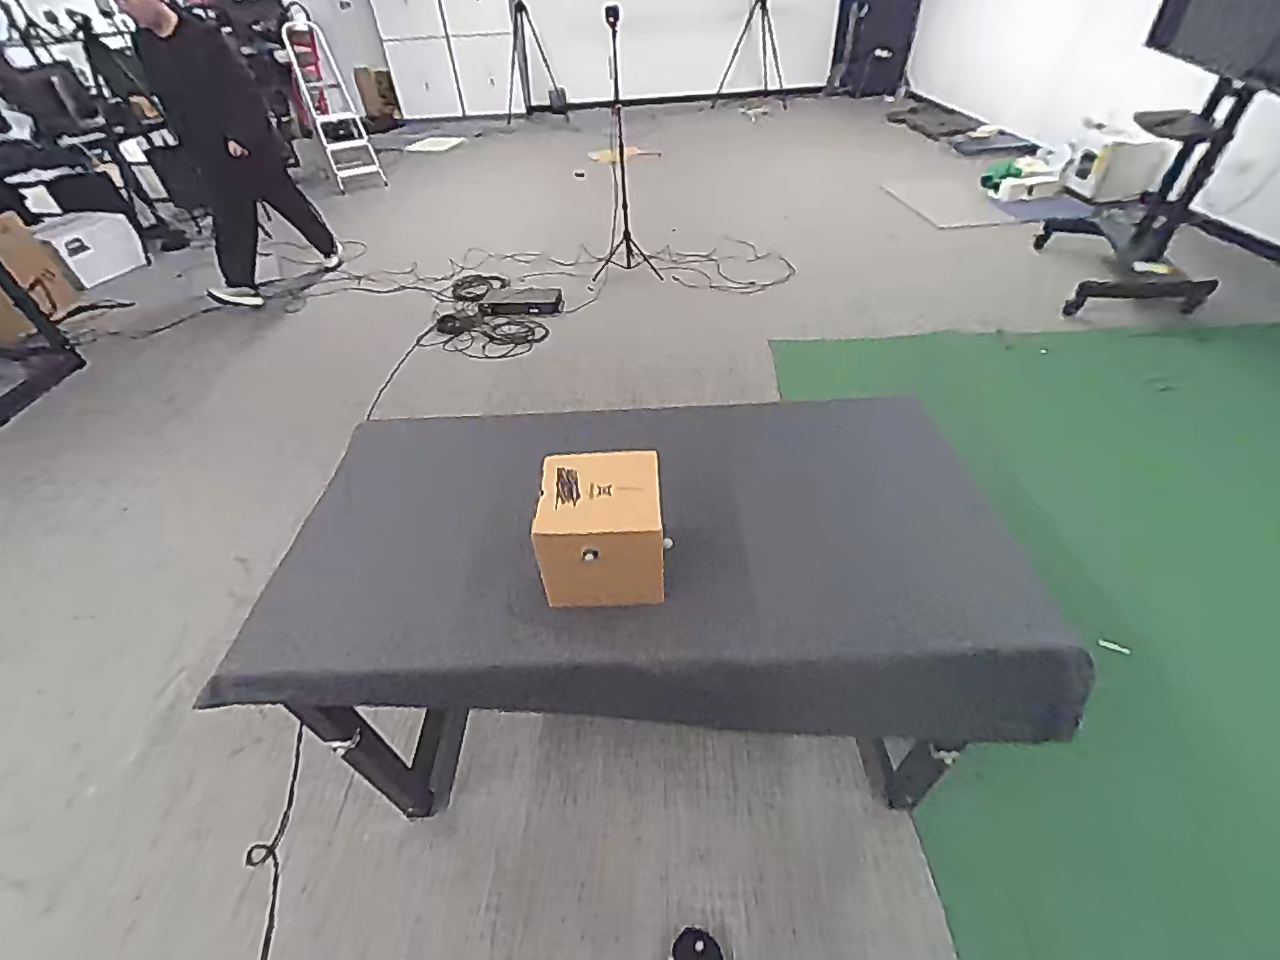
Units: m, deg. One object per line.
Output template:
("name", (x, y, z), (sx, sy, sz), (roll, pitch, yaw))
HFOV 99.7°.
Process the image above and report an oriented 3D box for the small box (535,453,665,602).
("small box", (-0.052, 0.076, 0.836), (0.179, 0.176, 0.168), (-2, 43, 1))
